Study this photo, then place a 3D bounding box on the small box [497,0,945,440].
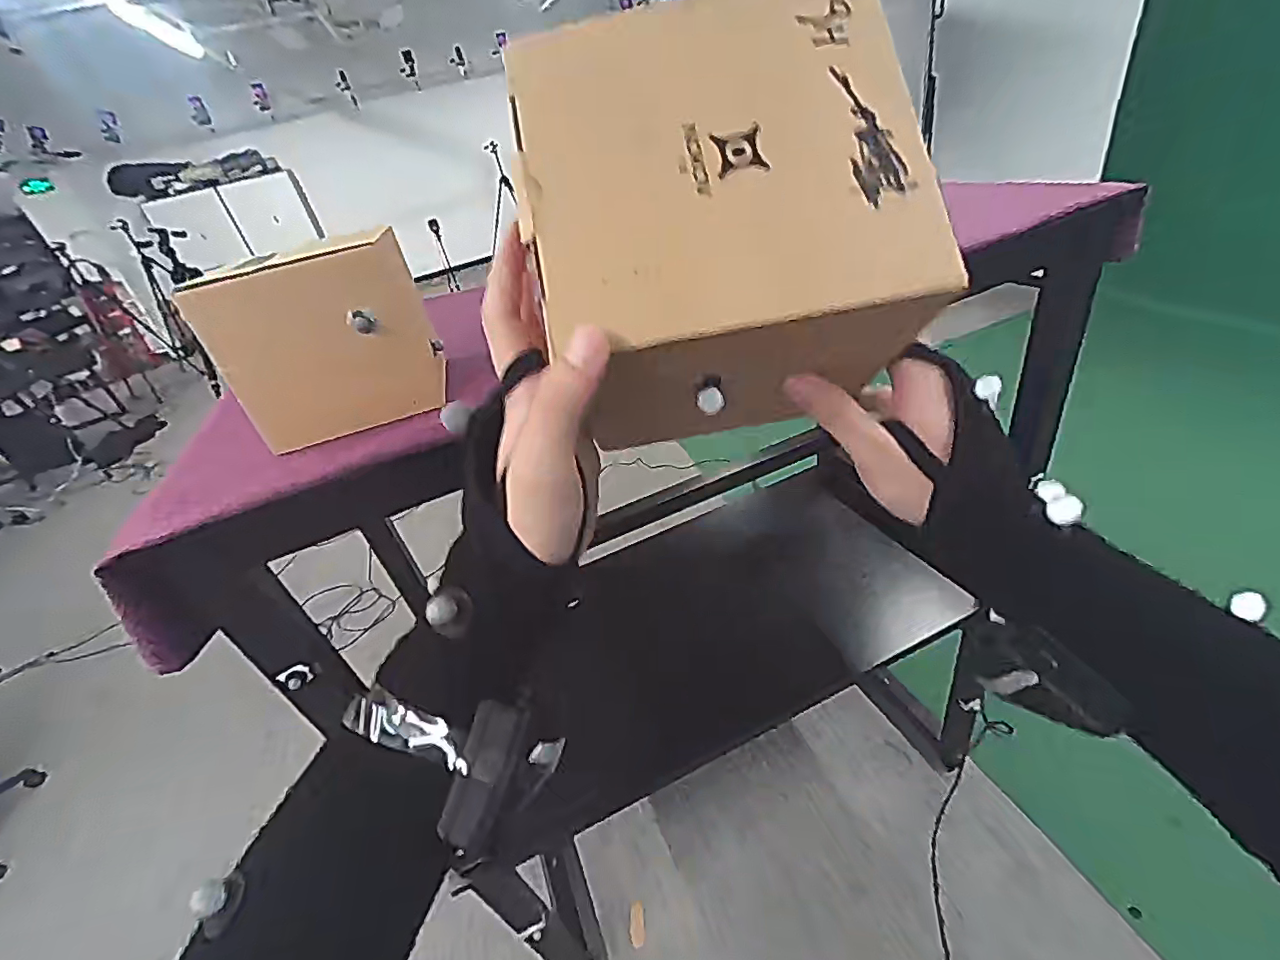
[{"bbox_3d":[0.035,-0.131,0.319,0.179,0.168,0.176,-11,-10,2],"label":"small box"}]
